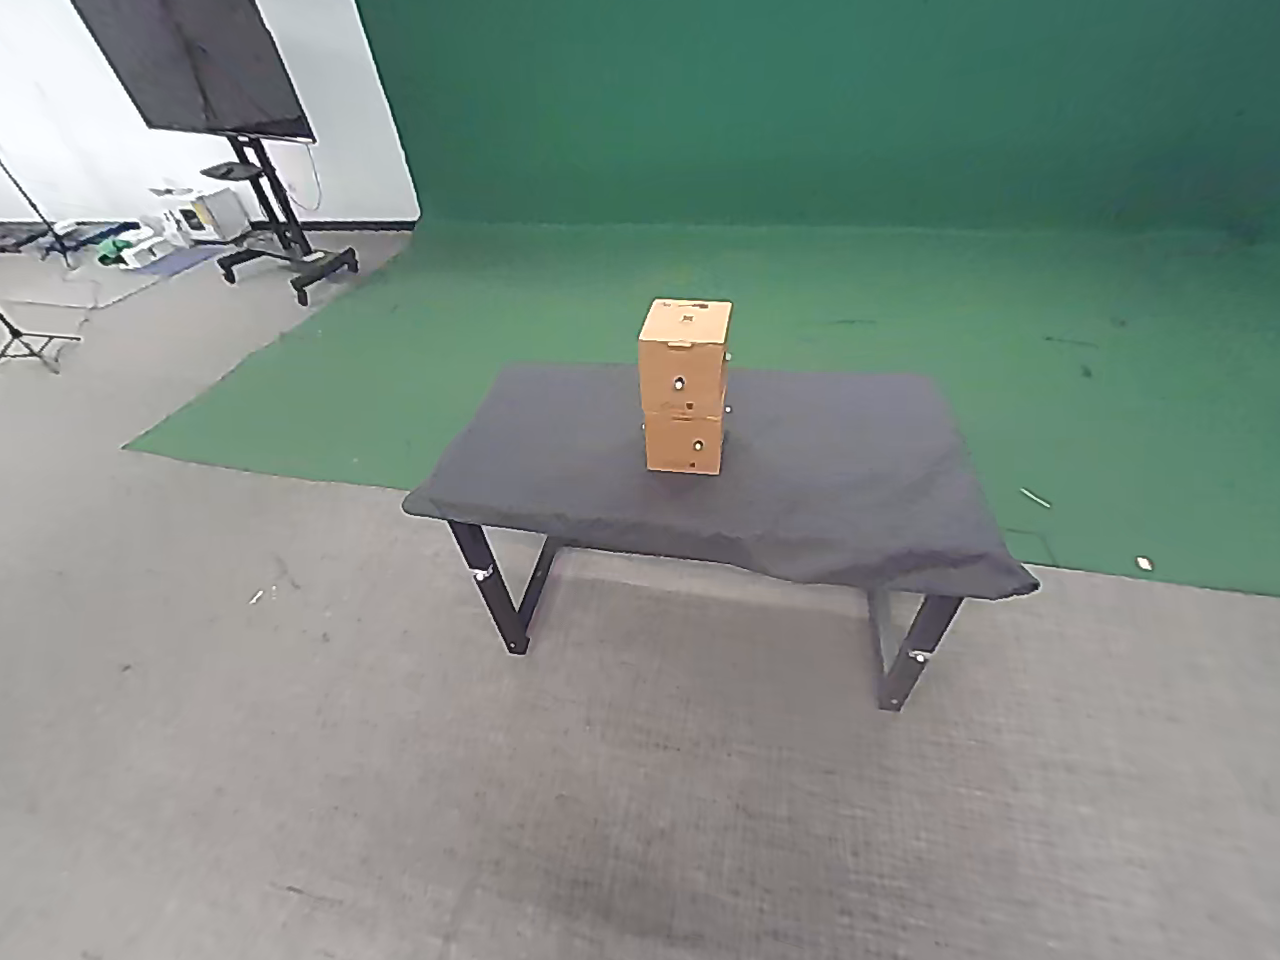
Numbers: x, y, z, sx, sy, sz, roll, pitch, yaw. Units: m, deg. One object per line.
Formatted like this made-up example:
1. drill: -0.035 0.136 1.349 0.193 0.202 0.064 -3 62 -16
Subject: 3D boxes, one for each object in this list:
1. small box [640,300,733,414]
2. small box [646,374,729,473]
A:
1. small box: 0.101 -0.256 1.135 0.168 0.176 0.179 7 46 10
2. small box: 0.113 -0.134 1.244 0.168 0.176 0.179 5 43 9
